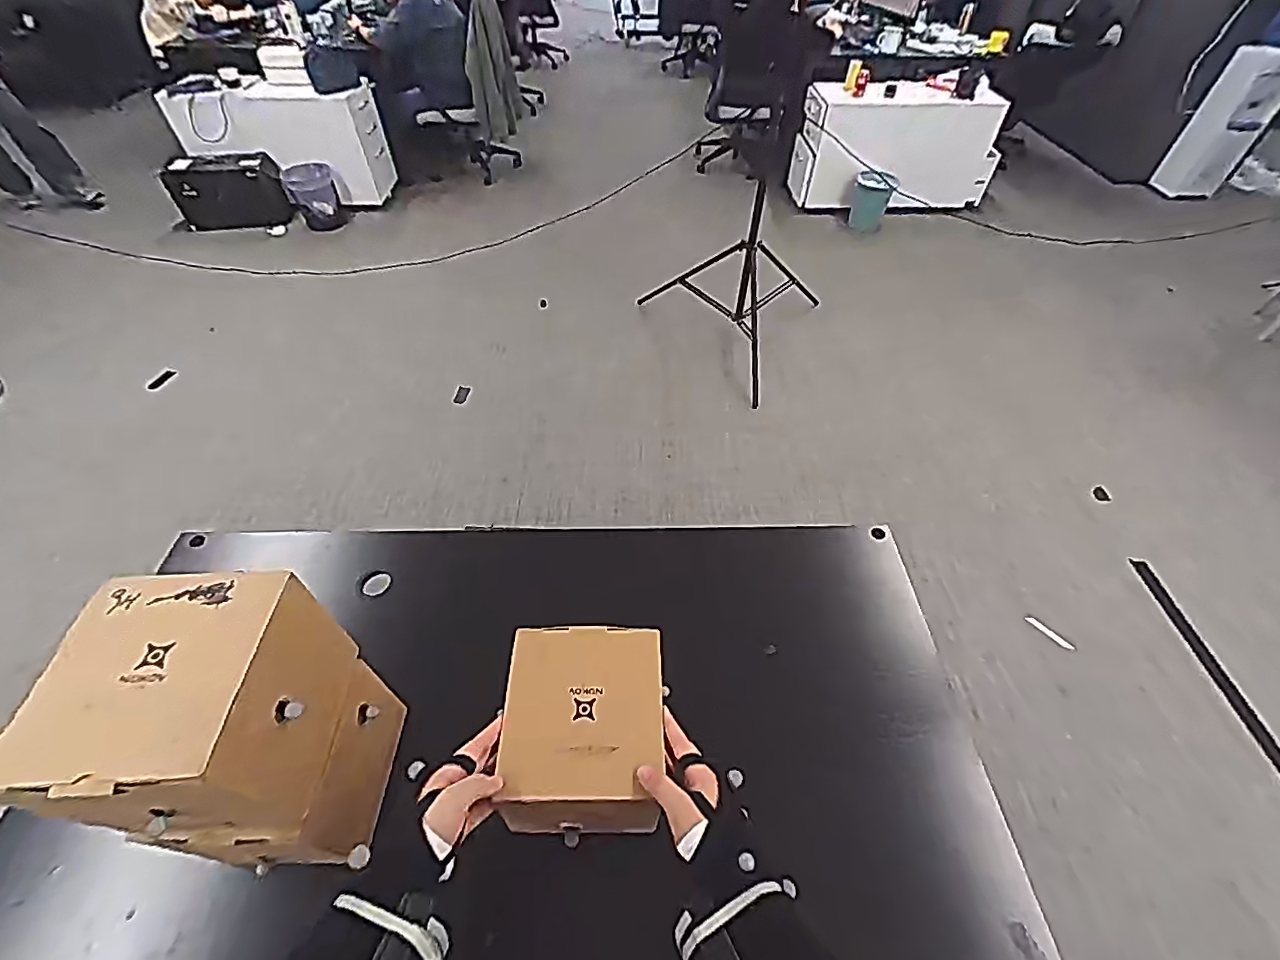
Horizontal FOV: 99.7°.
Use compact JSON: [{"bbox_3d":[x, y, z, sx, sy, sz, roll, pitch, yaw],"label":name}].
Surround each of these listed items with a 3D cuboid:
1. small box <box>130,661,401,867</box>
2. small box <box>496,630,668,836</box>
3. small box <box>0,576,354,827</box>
[{"bbox_3d":[-0.393,0.322,0.614,0.168,0.176,0.179,0,49,0],"label":"small box"},{"bbox_3d":[-0.059,0.291,0.622,0.168,0.176,0.179,0,48,-3],"label":"small box"},{"bbox_3d":[-0.394,0.207,0.497,0.168,0.176,0.179,-2,50,-3],"label":"small box"}]
